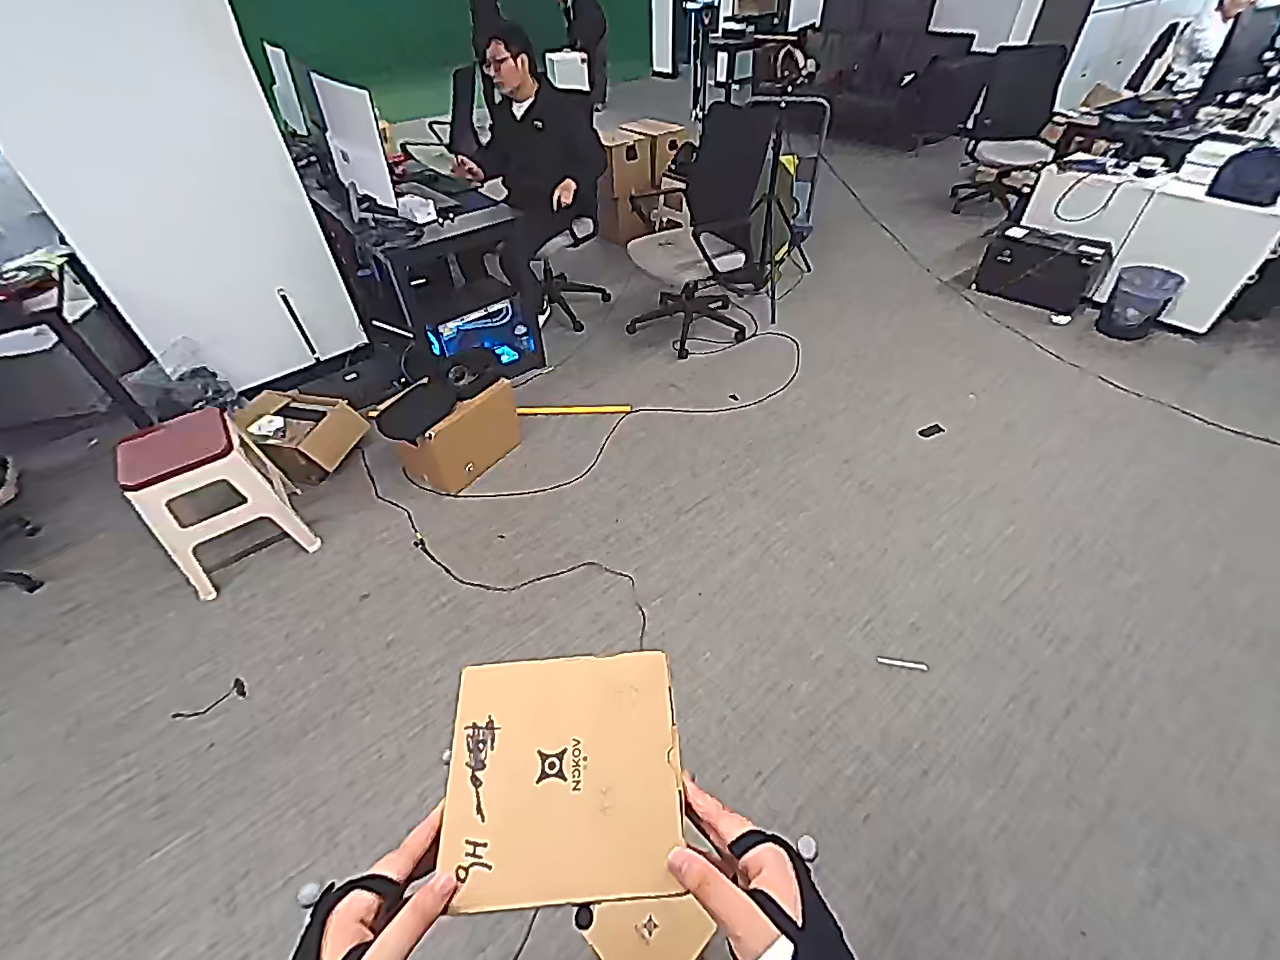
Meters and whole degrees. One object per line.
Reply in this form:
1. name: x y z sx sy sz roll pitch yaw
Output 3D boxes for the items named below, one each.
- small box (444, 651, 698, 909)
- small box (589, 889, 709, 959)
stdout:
1. small box: -0.051 0.265 0.478 0.179 0.176 0.168 -5 52 -2
2. small box: 0.018 0.935 1.091 0.179 0.176 0.168 -34 53 -27
